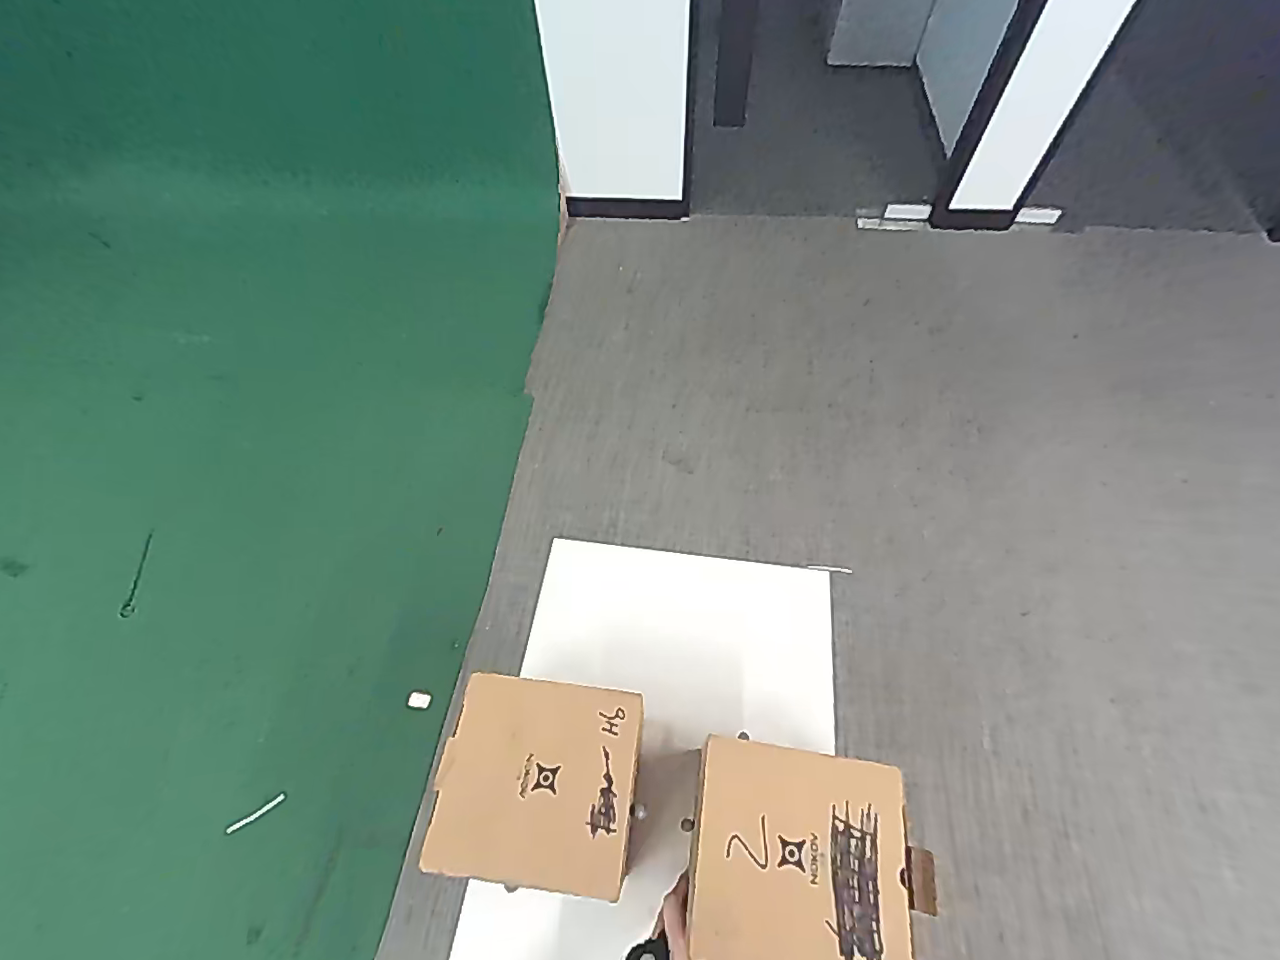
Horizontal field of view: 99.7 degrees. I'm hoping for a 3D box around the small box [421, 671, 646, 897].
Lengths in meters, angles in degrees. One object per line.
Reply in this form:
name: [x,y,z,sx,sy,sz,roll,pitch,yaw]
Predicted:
small box: [-0.091,0.311,0.564,0.179,0.176,0.168,6,59,5]
